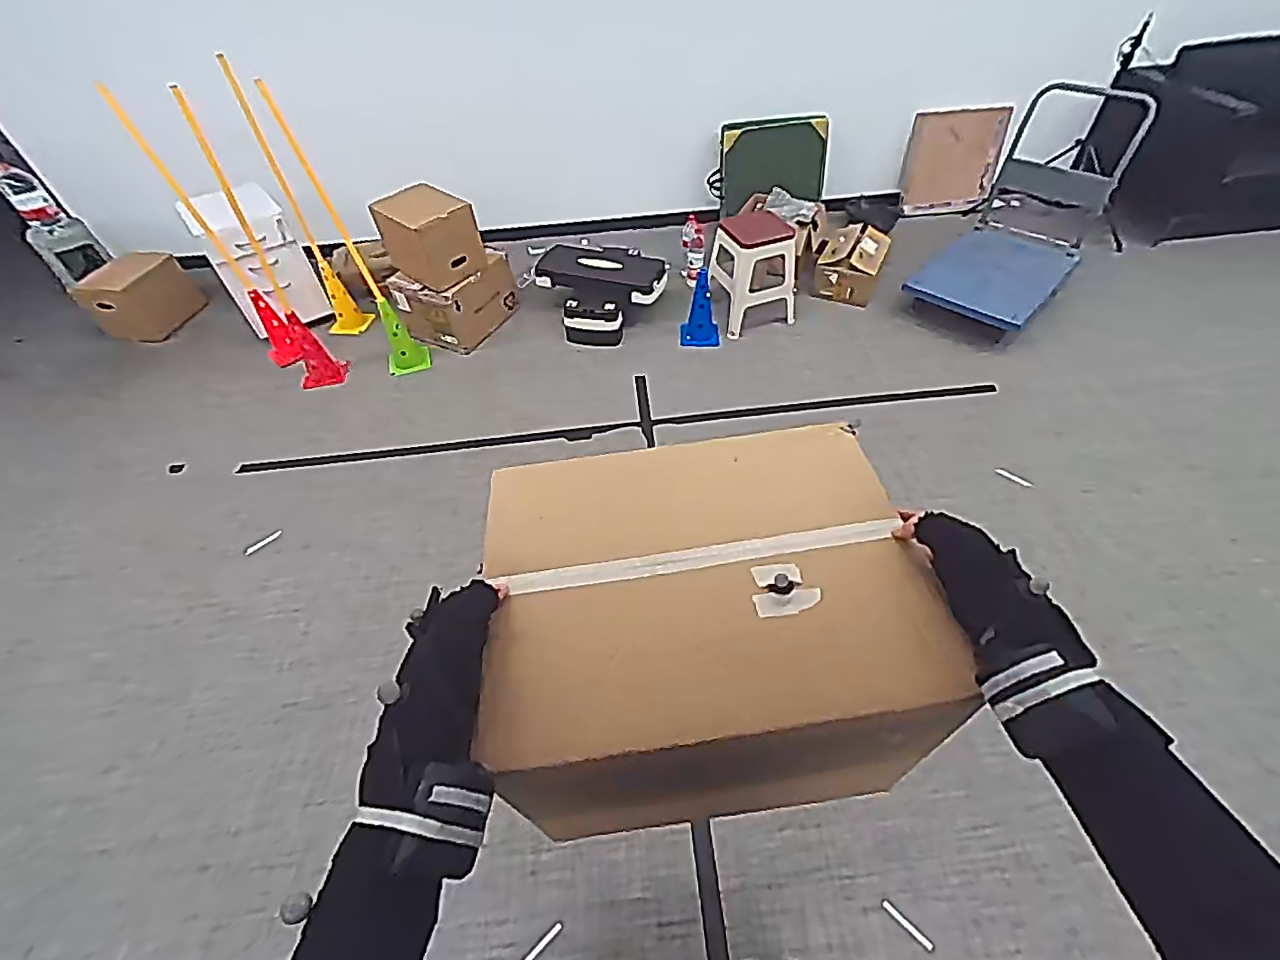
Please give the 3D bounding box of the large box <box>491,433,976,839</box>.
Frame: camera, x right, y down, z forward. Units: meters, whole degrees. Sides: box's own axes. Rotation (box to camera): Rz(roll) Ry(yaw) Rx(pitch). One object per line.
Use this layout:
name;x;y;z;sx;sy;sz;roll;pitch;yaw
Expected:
large box;0.067;0.184;0.635;0.408;0.320;0.320;-8;48;-2
